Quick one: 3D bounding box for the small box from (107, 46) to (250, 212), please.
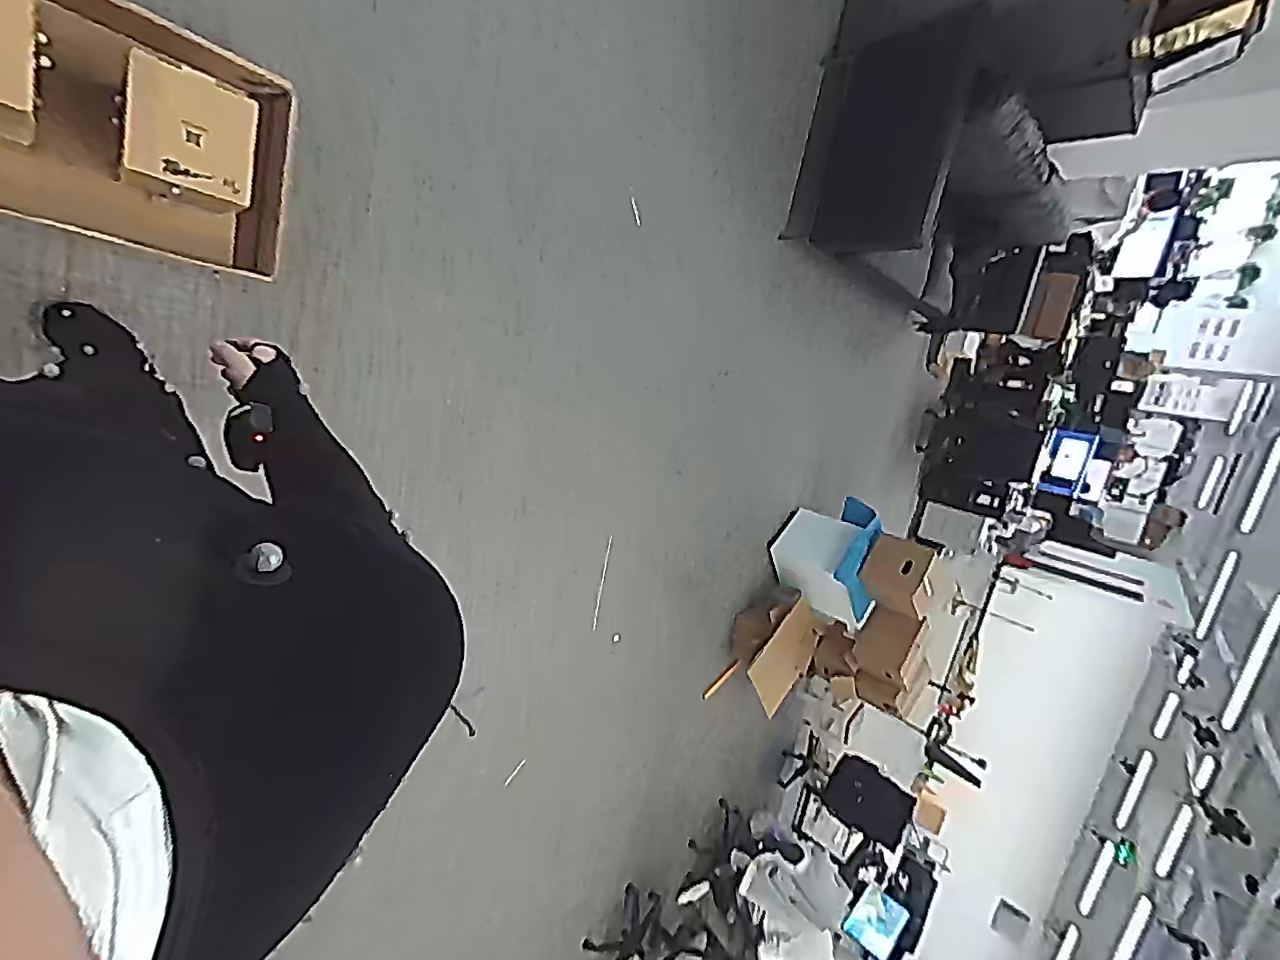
[{"bbox_3d":[-0.797,-0.586,0.931,0.168,0.176,0.179,3,103,-47],"label":"small box"}]

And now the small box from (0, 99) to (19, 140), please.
[{"bbox_3d":[-0.973,-0.596,0.735,0.168,0.176,0.179,1,105,-49],"label":"small box"}]

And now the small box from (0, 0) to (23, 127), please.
[{"bbox_3d":[-0.851,-0.552,0.632,0.168,0.176,0.179,1,105,-49],"label":"small box"}]

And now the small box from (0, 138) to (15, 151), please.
[{"bbox_3d":[-1.091,-0.640,0.835,0.168,0.176,0.179,2,104,-49],"label":"small box"}]
